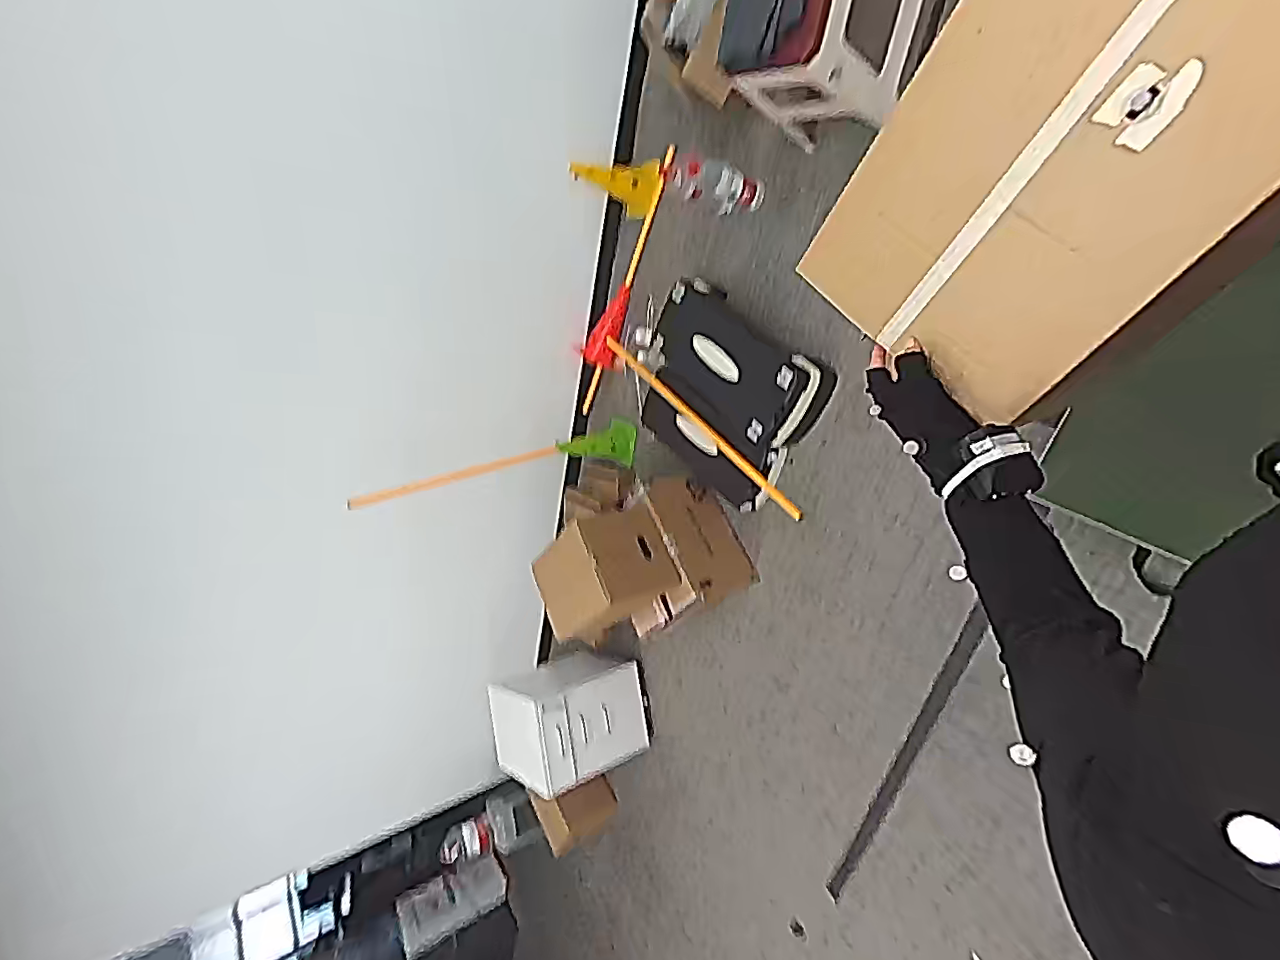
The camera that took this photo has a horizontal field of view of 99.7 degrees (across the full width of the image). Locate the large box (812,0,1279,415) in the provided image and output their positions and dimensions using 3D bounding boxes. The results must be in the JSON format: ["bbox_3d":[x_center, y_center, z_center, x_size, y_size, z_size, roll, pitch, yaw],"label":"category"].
[{"bbox_3d":[0.480,-0.327,0.584,0.320,0.320,0.408,55,137,26],"label":"large box"}]
